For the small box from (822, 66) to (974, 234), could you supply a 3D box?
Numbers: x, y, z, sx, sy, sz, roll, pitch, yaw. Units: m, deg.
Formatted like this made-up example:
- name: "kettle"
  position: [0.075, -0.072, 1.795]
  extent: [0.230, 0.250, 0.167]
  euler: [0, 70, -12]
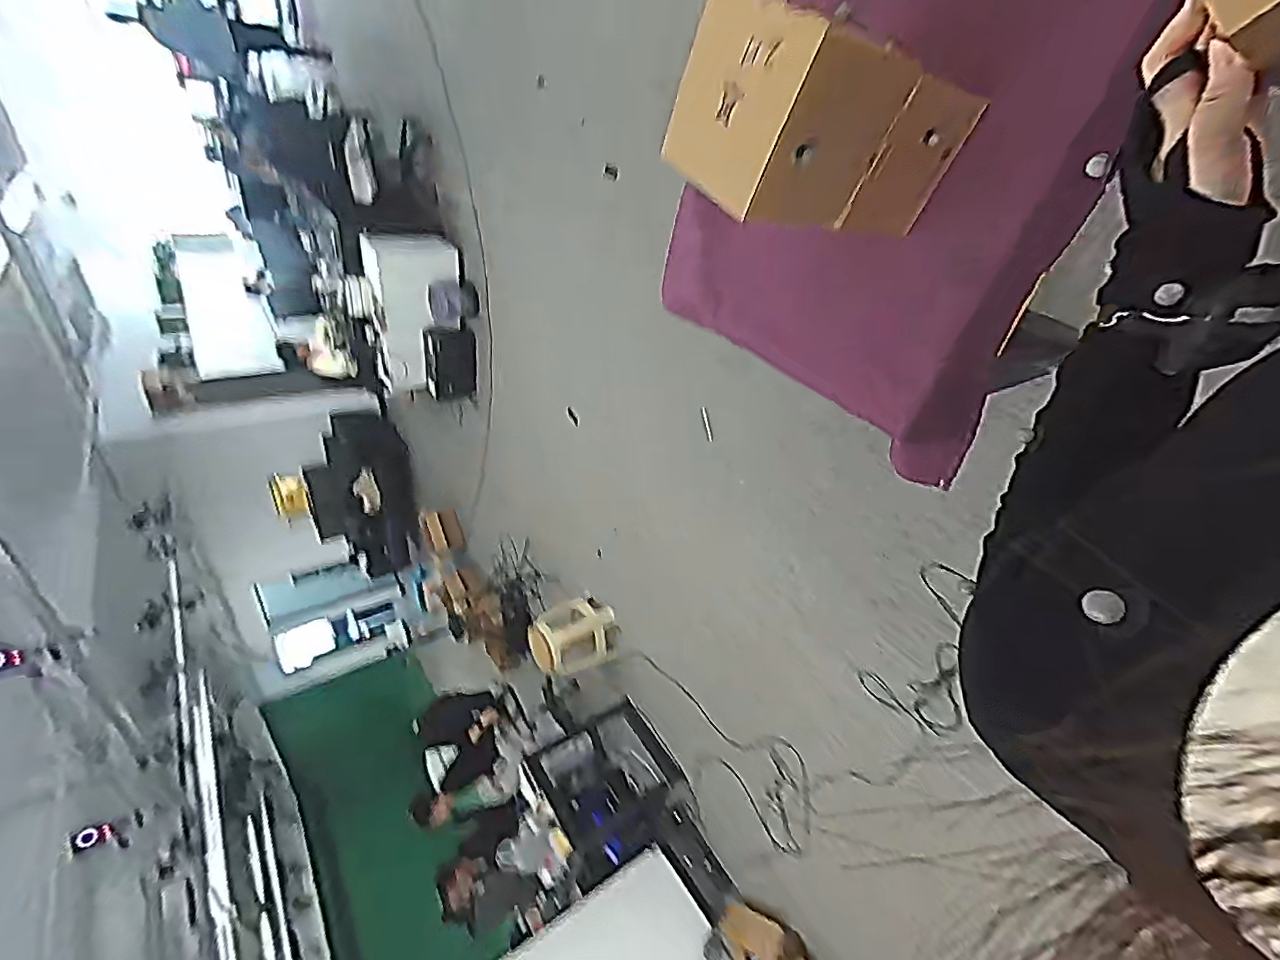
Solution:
- name: "small box"
  position: [0.284, -0.442, 0.705]
  extent: [0.179, 0.176, 0.168]
  euler: [53, 141, 28]

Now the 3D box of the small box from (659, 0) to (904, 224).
- name: "small box"
  position: [0.154, -0.410, 0.611]
  extent: [0.168, 0.176, 0.179]
  euler: [53, 140, 27]

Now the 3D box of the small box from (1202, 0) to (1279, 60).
- name: "small box"
  position: [0.321, -0.309, 0.209]
  extent: [0.168, 0.176, 0.179]
  euler: [-26, 82, 58]
